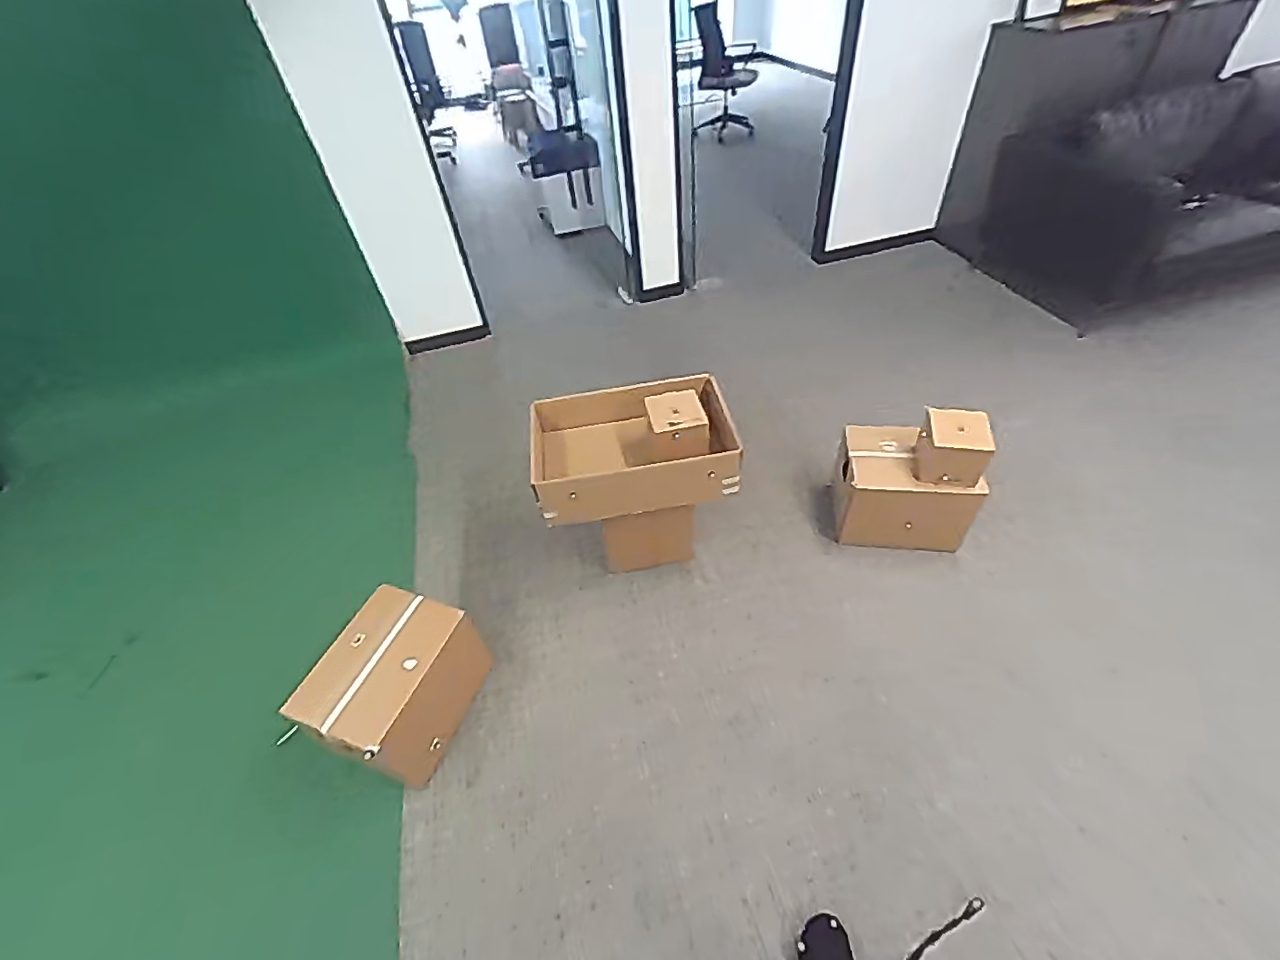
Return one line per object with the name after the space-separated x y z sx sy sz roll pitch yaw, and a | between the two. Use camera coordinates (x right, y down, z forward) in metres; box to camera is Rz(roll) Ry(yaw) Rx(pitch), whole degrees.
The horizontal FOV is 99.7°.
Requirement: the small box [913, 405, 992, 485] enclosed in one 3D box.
0.974 -0.109 1.701 0.168 0.176 0.179 7 50 14 | small box

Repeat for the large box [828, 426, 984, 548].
0.912 0.025 1.920 0.408 0.320 0.320 2 46 9 | large box
